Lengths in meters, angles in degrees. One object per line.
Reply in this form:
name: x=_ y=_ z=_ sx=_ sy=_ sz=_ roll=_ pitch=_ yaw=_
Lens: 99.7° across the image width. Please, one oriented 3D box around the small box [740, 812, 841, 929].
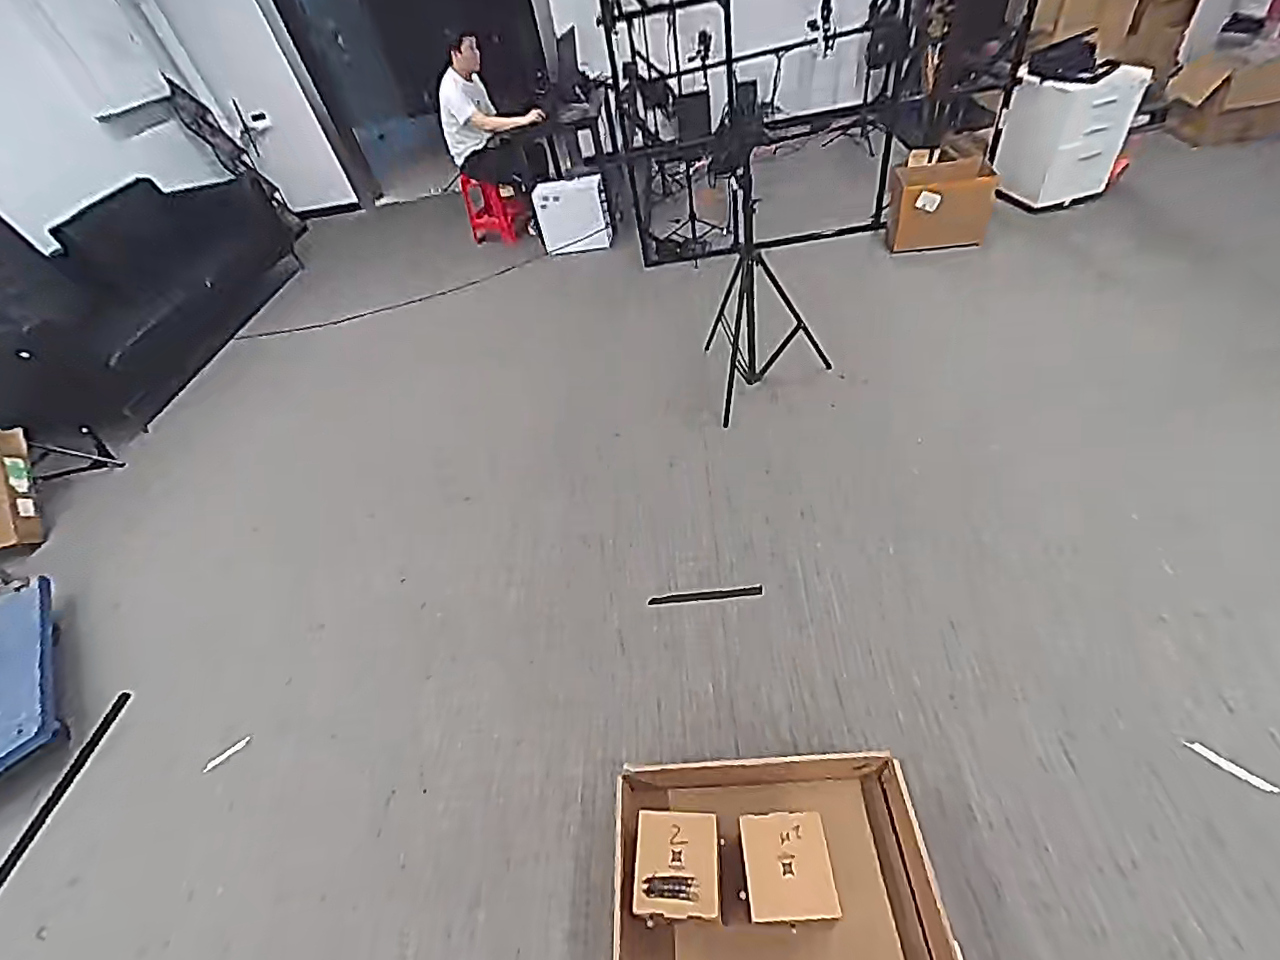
small box: x=0.301 y=0.802 z=1.106 sx=0.168 sy=0.176 sz=0.179 roll=-8 pitch=45 yaw=6
